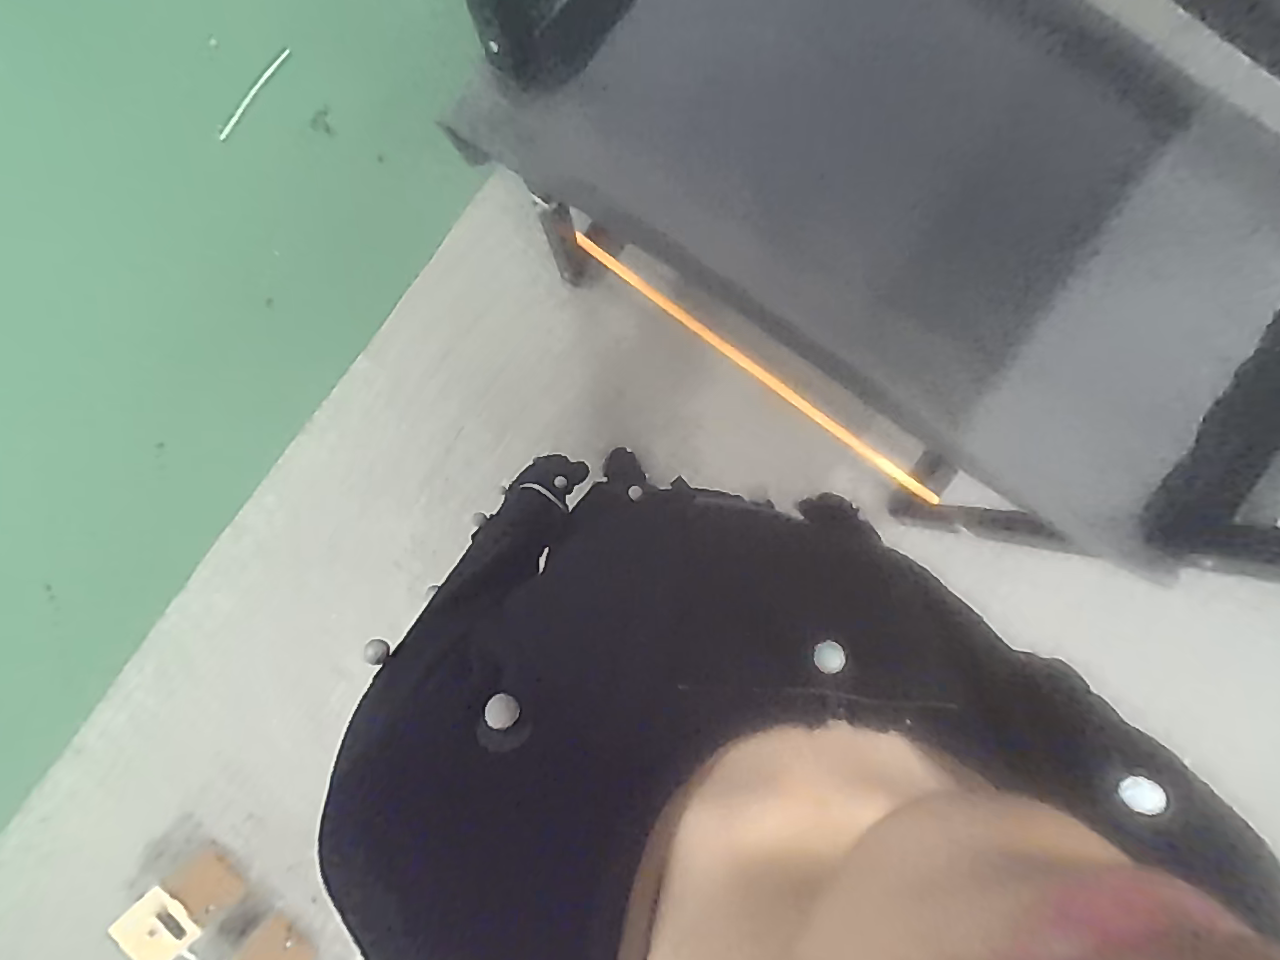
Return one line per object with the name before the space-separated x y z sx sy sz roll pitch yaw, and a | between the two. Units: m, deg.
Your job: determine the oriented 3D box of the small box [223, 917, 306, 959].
small box | -1.006 1.288 1.375 0.179 0.176 0.168 -45 91 -2
